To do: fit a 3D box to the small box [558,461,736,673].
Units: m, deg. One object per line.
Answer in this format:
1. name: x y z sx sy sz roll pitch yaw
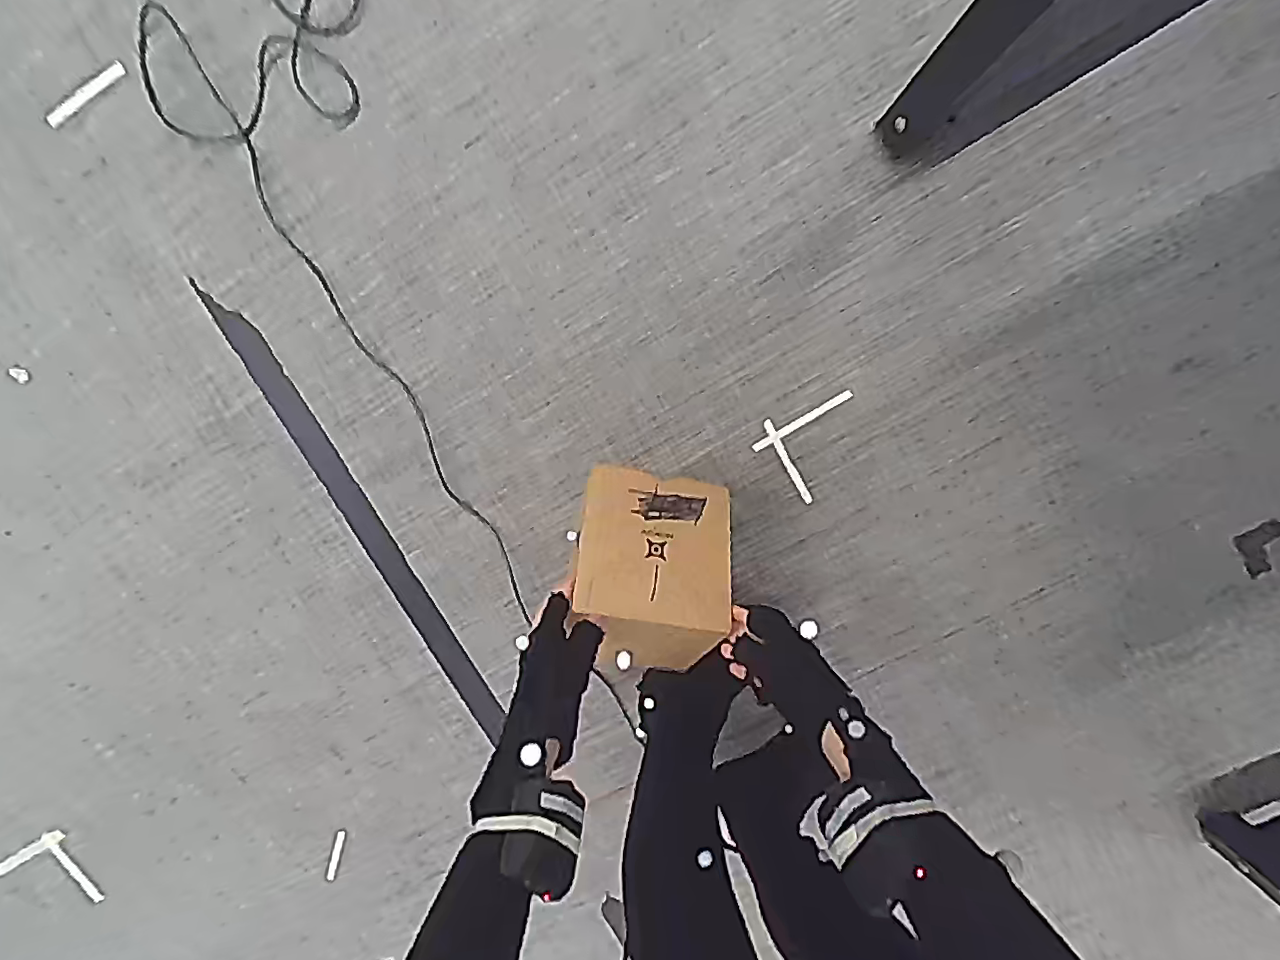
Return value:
1. small box: 0.003 0.107 0.635 0.168 0.179 0.176 11 144 -9
